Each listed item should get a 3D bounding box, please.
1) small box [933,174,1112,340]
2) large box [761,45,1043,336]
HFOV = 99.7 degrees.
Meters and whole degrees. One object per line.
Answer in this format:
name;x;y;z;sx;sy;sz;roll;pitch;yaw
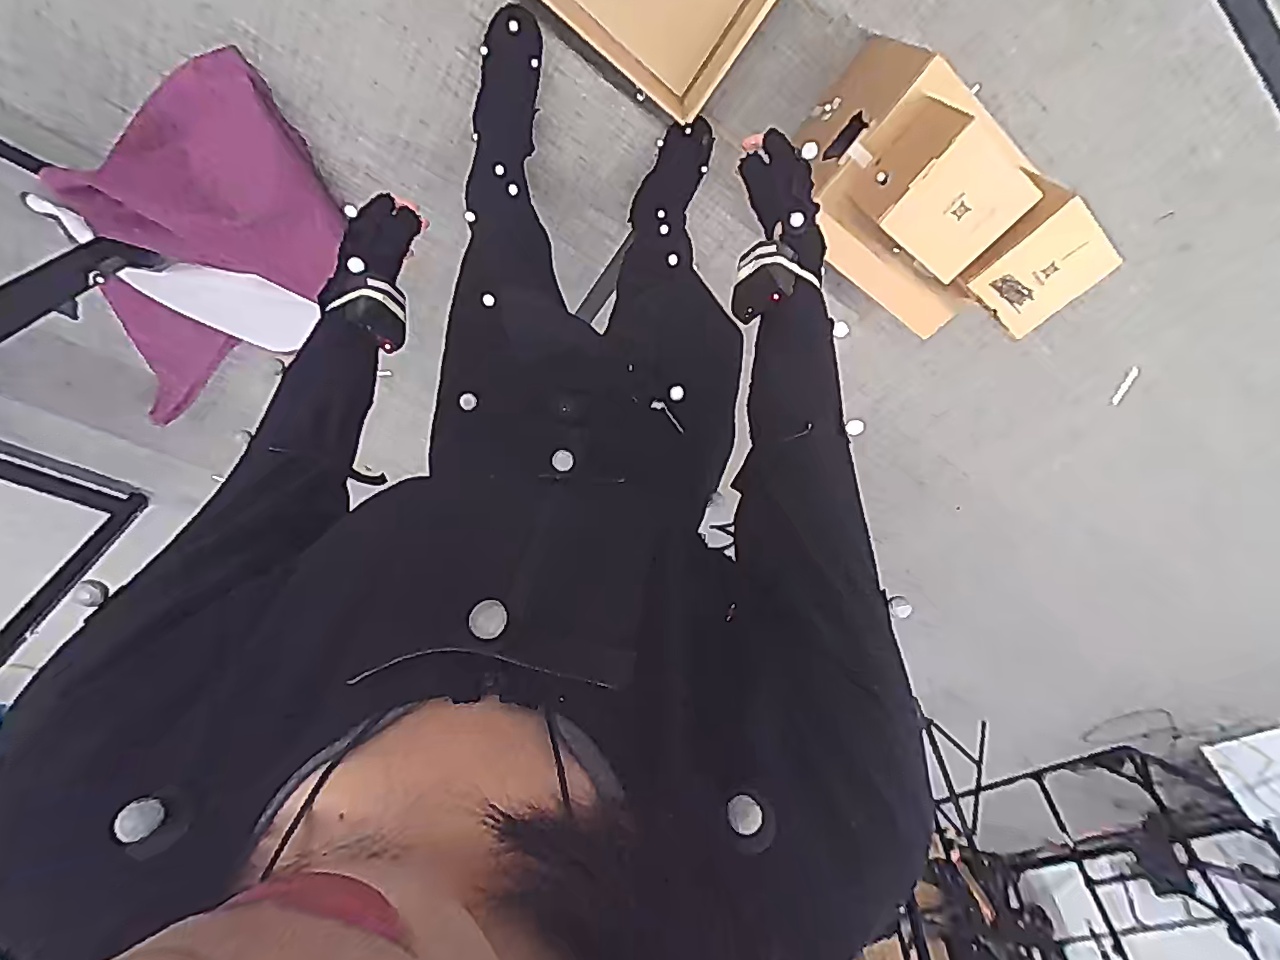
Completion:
small box;0.643;-0.386;0.937;0.168;0.176;0.179;30;125;-25
large box;0.515;-0.575;1.093;0.408;0.320;0.320;25;129;-24
